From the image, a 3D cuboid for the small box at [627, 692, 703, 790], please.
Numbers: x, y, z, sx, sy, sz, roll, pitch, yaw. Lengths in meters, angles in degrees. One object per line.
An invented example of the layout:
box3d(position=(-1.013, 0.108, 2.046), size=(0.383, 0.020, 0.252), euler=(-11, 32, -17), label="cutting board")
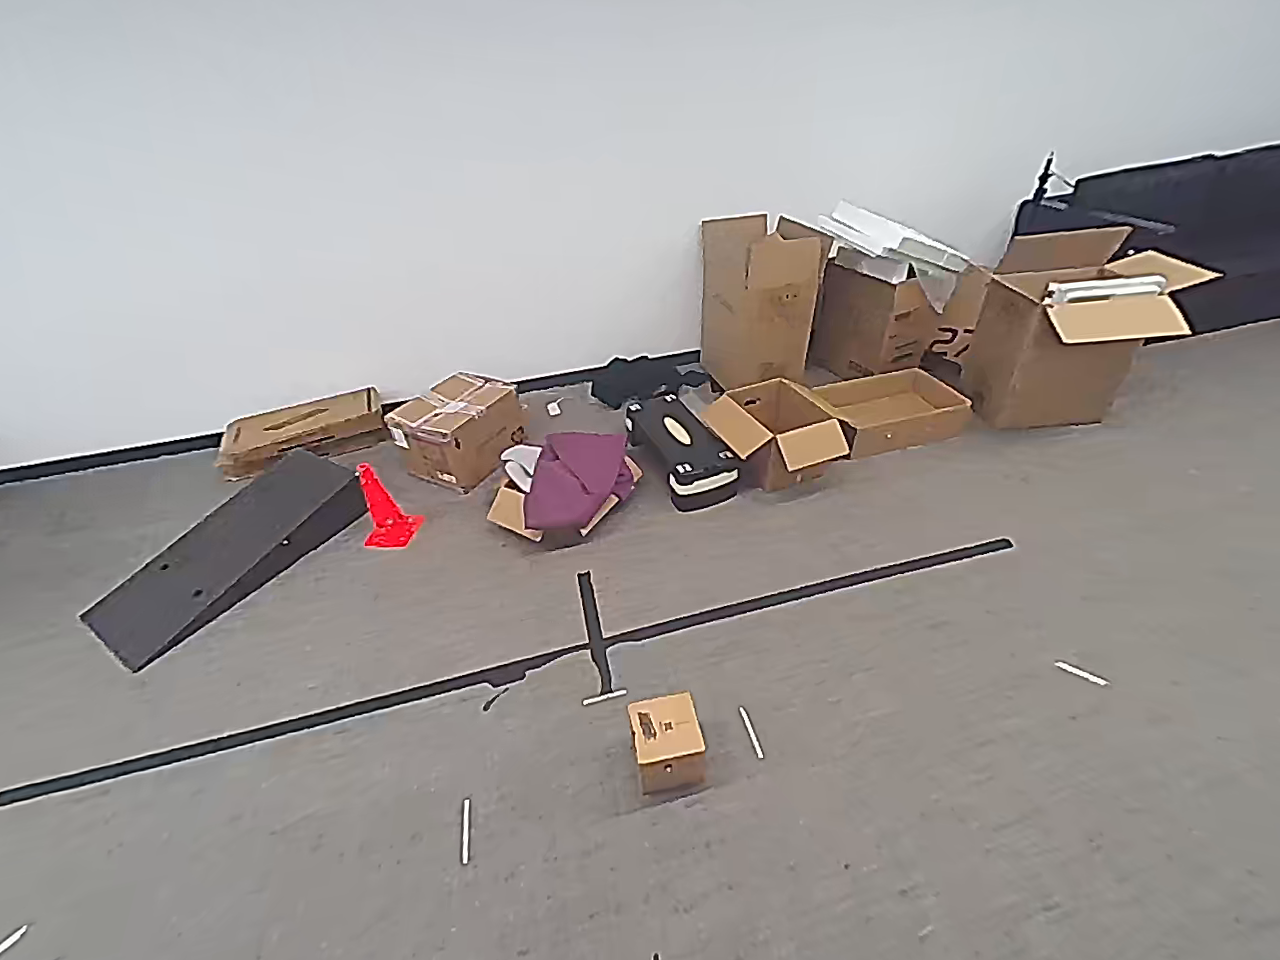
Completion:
box3d(position=(0.067, 0.706, 1.456), size=(0.179, 0.176, 0.168), euler=(-9, 38, -7), label="small box")
